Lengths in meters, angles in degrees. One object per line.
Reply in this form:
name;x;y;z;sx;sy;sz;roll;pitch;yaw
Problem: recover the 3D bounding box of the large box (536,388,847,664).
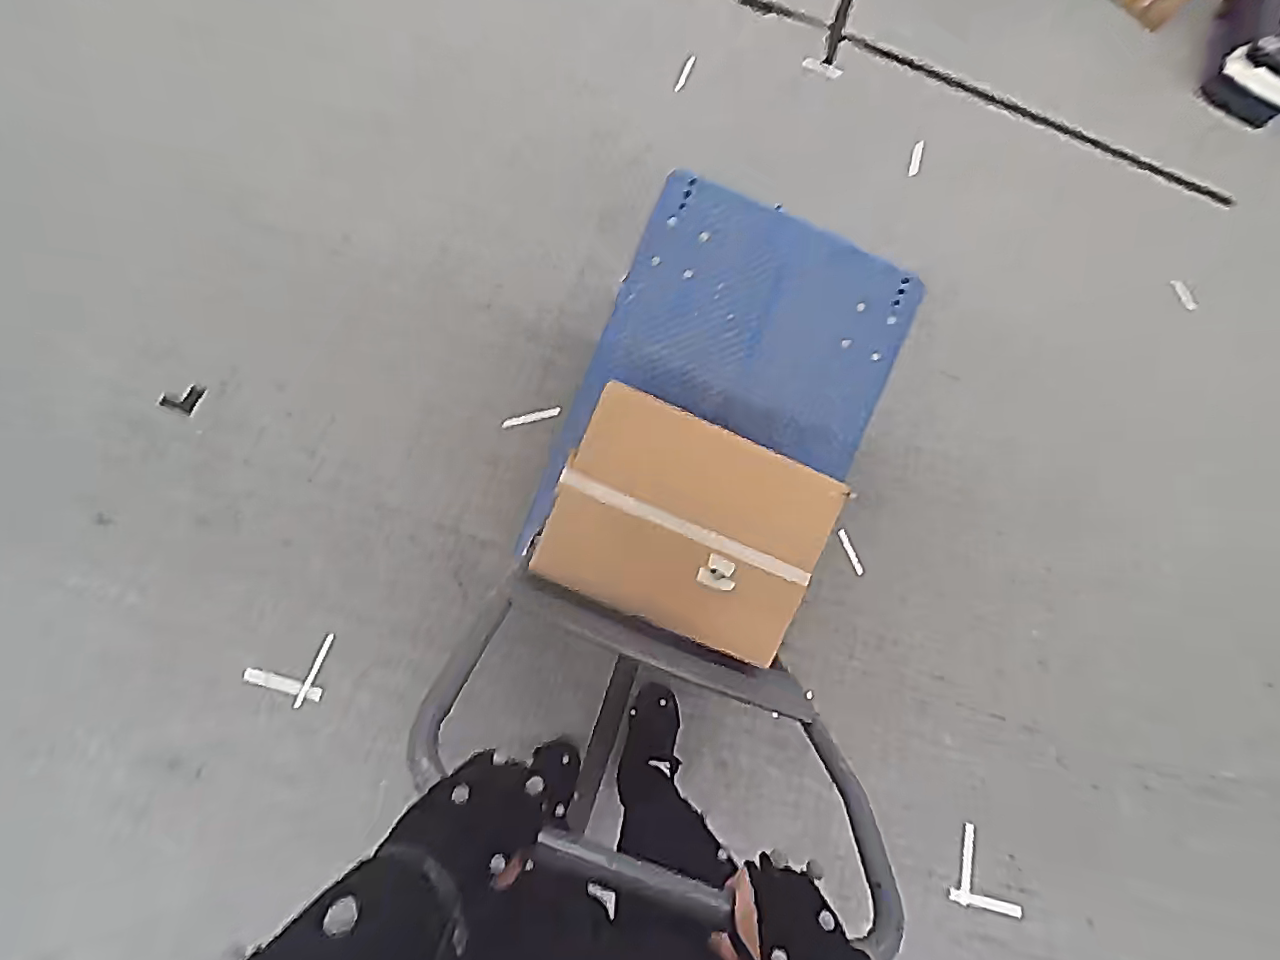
large box;0.071;0.065;0.971;0.408;0.320;0.320;24;93;-4
